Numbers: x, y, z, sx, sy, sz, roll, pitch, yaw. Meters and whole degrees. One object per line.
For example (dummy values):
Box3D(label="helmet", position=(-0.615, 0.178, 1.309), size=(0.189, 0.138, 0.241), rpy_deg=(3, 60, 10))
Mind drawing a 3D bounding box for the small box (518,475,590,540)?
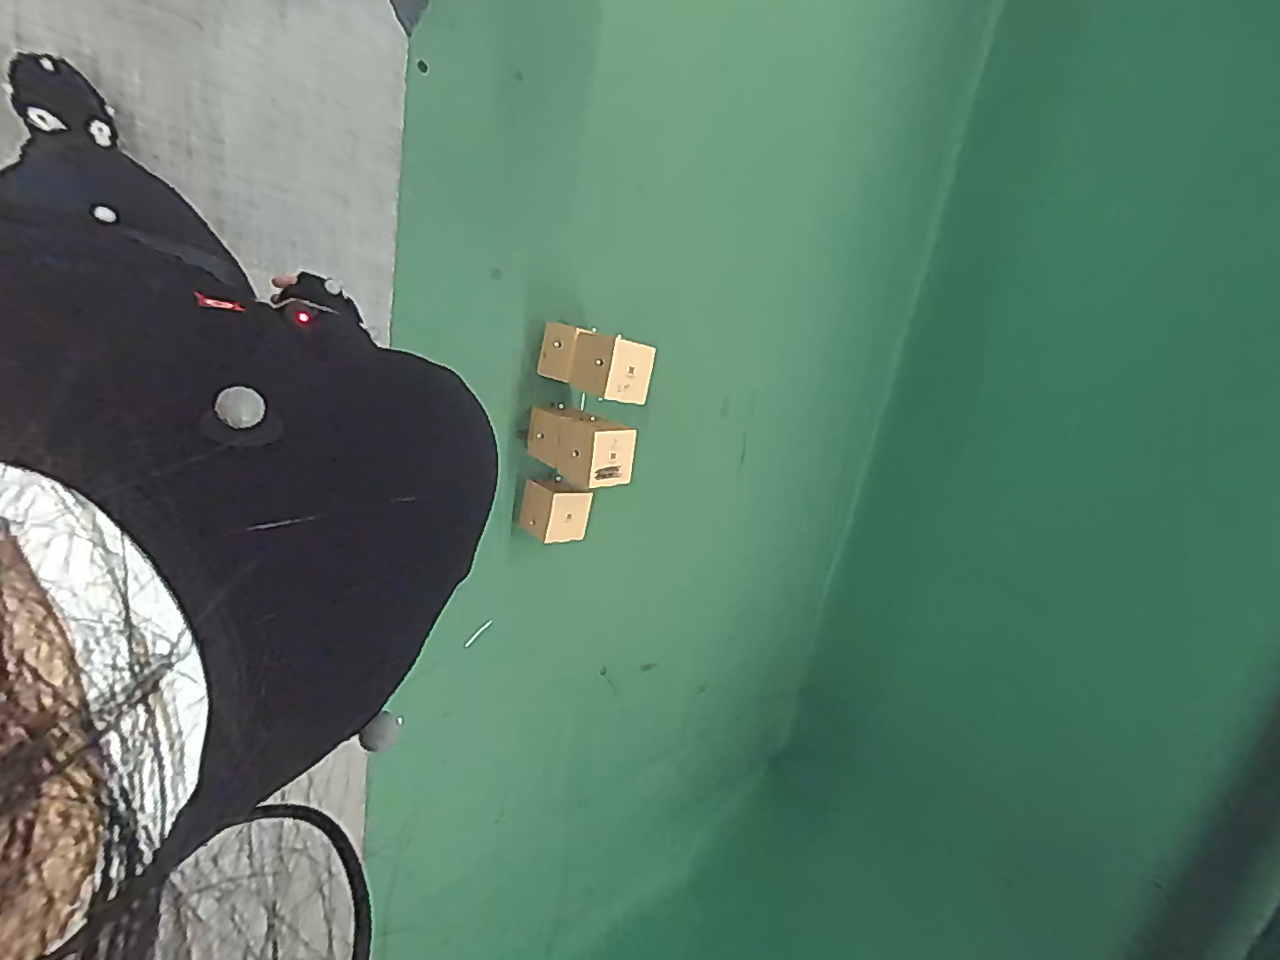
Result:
Box3D(label="small box", position=(-0.299, 0.091, 1.845), size=(0.168, 0.176, 0.179), rpy_deg=(1, 107, -46))

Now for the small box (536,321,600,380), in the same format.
Box3D(label="small box", position=(-0.207, -0.400, 1.714), size=(0.179, 0.176, 0.168), rpy_deg=(2, 106, -46))

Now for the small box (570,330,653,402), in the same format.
Box3D(label="small box", position=(-0.089, -0.342, 1.612), size=(0.168, 0.176, 0.179), rpy_deg=(1, 107, -45))
